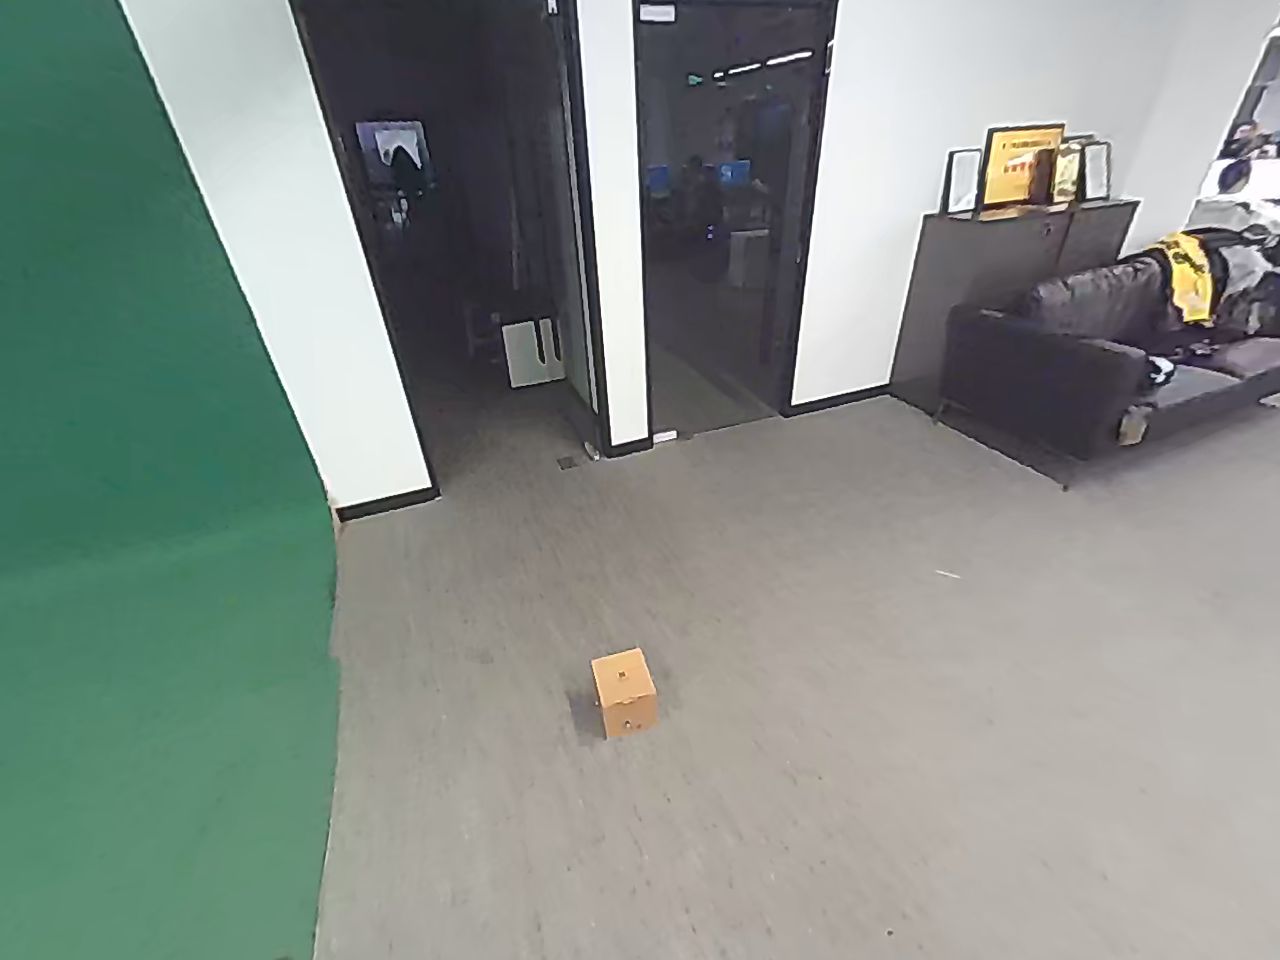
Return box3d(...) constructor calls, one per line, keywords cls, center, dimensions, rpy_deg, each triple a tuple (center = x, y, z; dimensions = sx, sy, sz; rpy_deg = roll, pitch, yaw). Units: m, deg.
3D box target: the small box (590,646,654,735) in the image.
box3d(cls="small box", center=(-0.059, 0.658, 1.695), dimensions=(0.168, 0.176, 0.179), rpy_deg=(-10, 34, -13))
